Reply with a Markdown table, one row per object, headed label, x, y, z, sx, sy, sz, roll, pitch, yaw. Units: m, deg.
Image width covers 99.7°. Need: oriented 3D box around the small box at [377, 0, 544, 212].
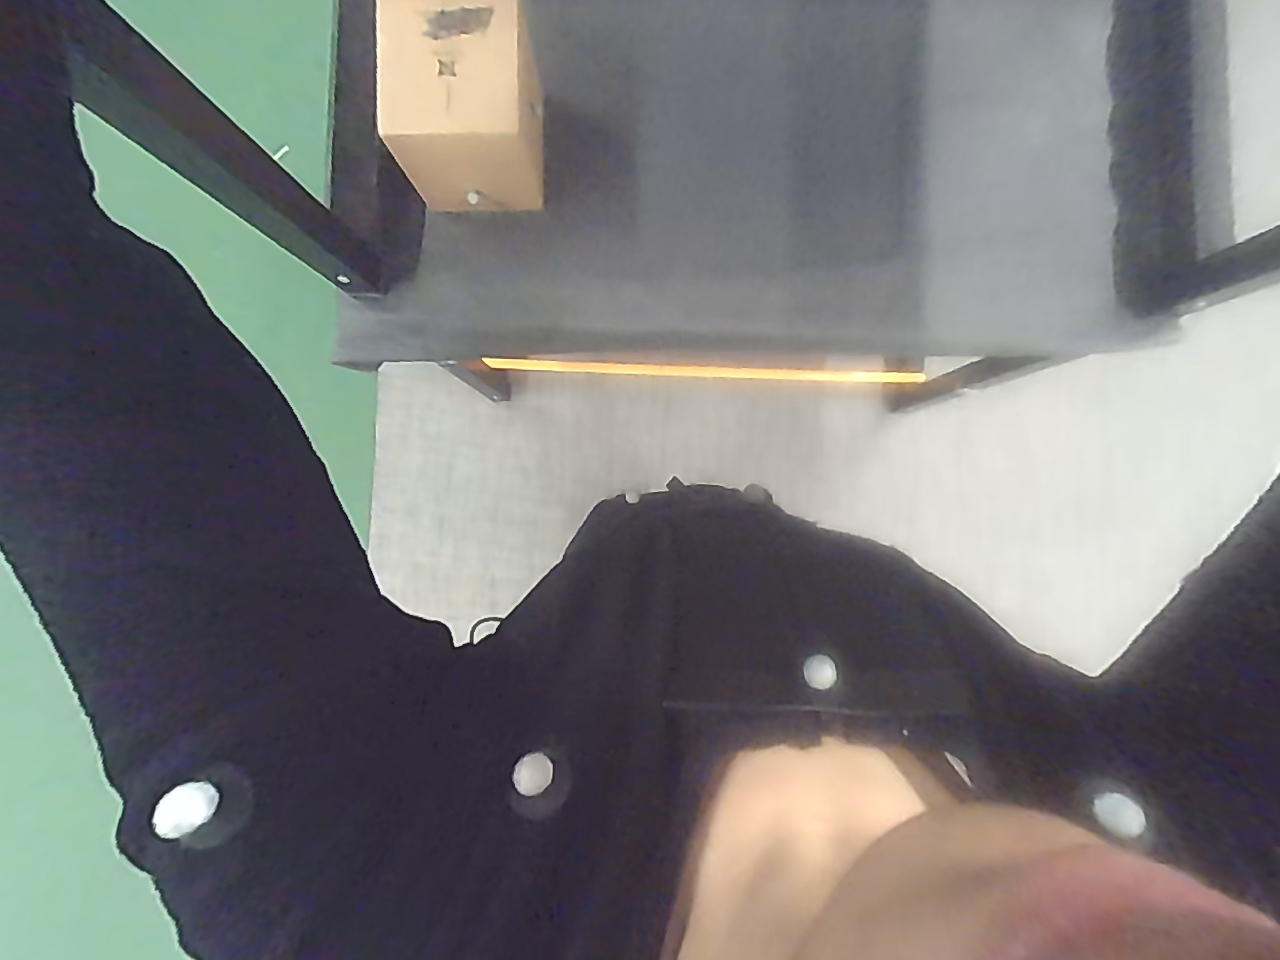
| label | x | y | z | sx | sy | sz | roll | pitch | yaw |
| --- | --- | --- | --- | --- | --- | --- | --- | --- | --- |
| small box | -0.222 | -0.481 | 0.707 | 0.168 | 0.176 | 0.179 | -1 | 88 | 0 |
